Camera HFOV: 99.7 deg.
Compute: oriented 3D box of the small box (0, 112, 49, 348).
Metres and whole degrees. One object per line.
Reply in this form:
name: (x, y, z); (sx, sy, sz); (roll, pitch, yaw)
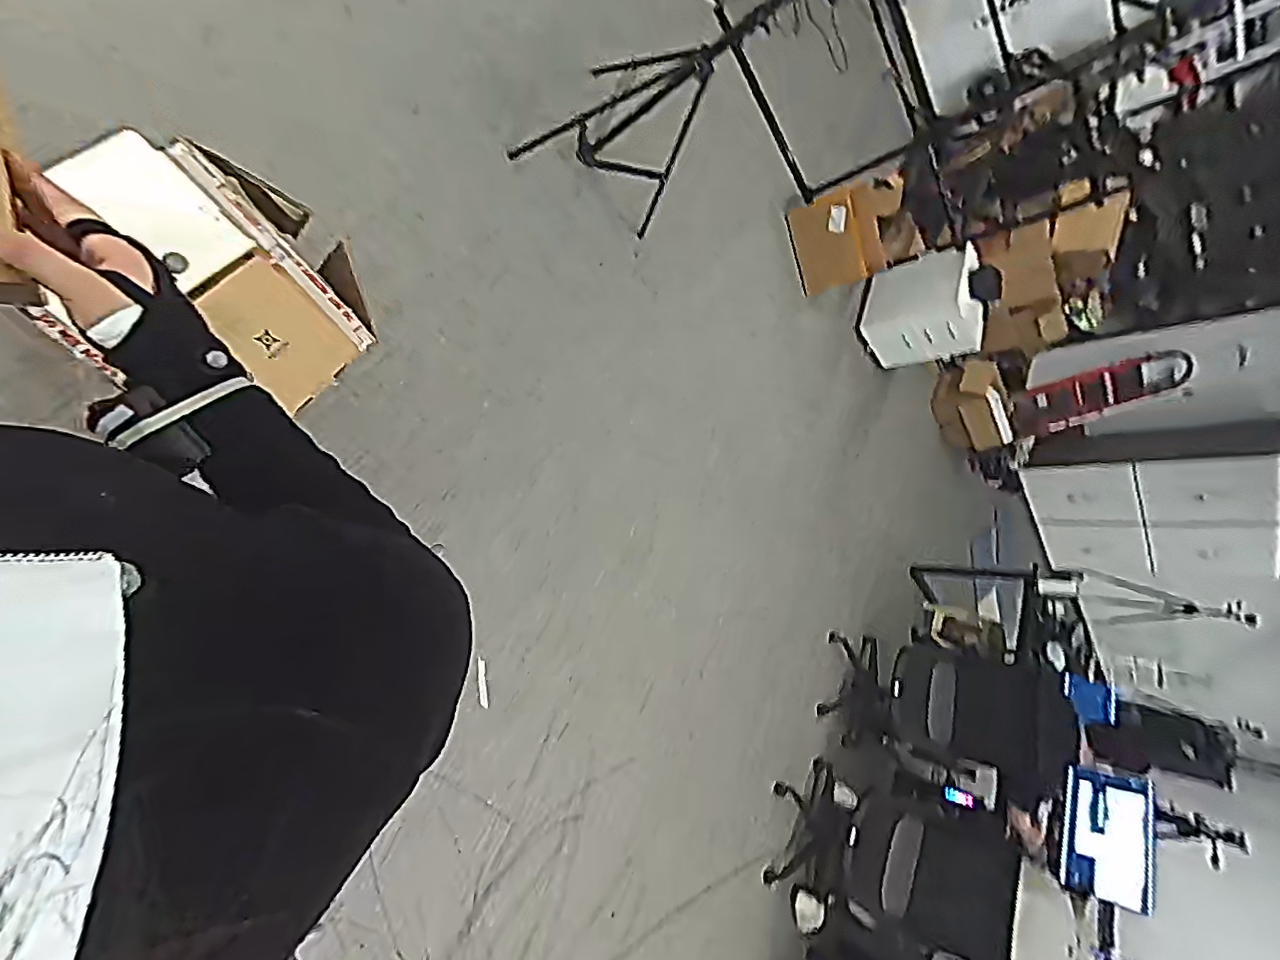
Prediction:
small box: (-0.517, -0.178, 0.346); (0.168, 0.176, 0.179); (-11, 107, -43)
